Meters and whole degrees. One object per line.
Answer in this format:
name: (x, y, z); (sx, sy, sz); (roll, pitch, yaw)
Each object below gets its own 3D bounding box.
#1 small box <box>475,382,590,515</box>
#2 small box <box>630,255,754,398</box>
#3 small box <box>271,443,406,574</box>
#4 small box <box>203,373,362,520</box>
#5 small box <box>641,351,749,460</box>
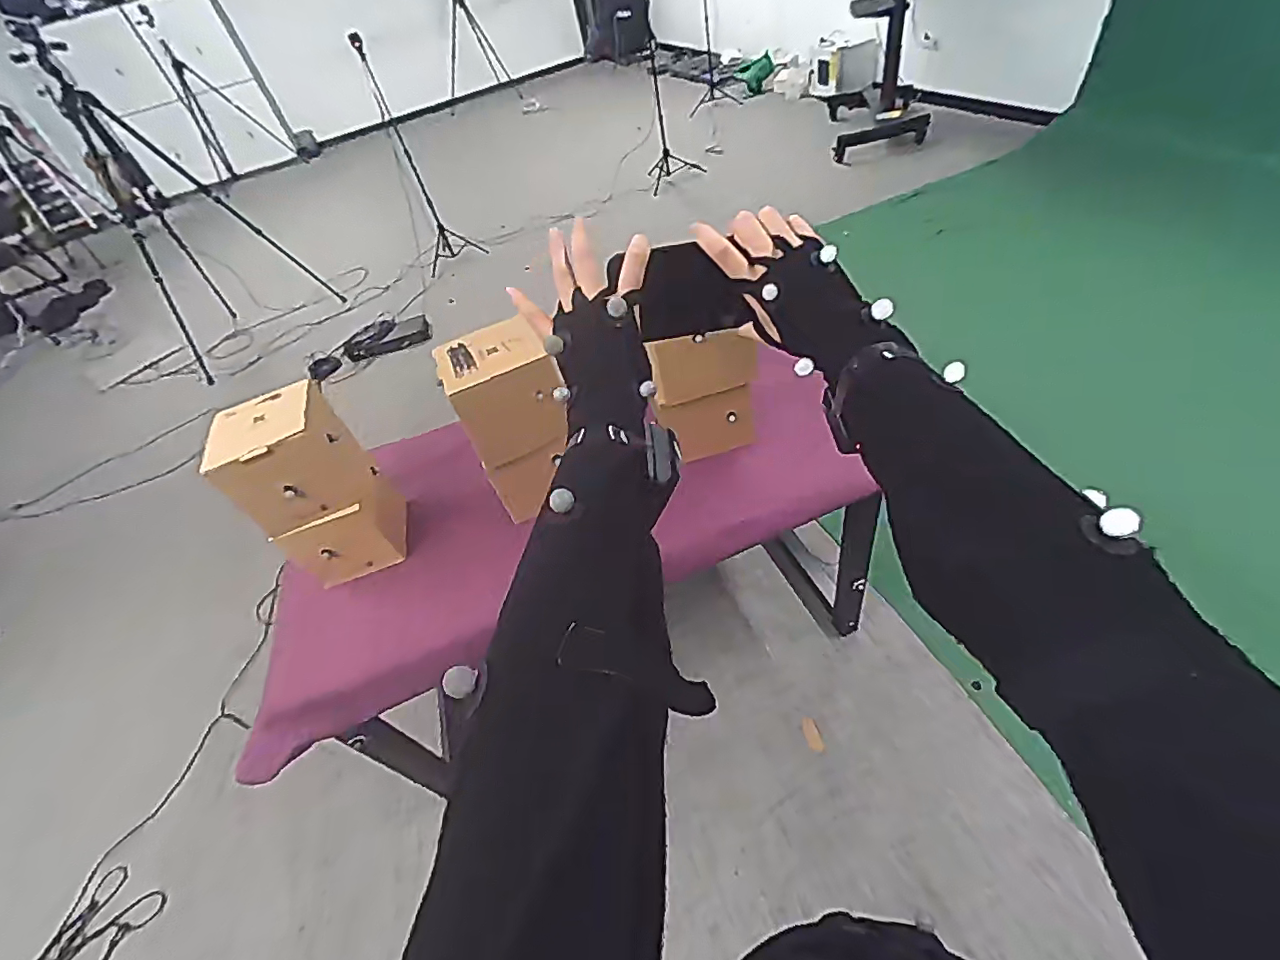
small box: (-0.209, -0.060, 1.080); (0.179, 0.176, 0.168); (-21, 46, -4)
small box: (0.096, -0.270, 0.970); (0.179, 0.176, 0.168); (-16, 46, -1)
small box: (-0.580, 0.063, 1.065); (0.168, 0.176, 0.179); (-20, 46, -4)
small box: (-0.614, -0.052, 0.953); (0.168, 0.176, 0.179); (-23, 47, -8)
small box: (0.114, -0.168, 1.097); (0.179, 0.176, 0.168); (-16, 46, 1)
